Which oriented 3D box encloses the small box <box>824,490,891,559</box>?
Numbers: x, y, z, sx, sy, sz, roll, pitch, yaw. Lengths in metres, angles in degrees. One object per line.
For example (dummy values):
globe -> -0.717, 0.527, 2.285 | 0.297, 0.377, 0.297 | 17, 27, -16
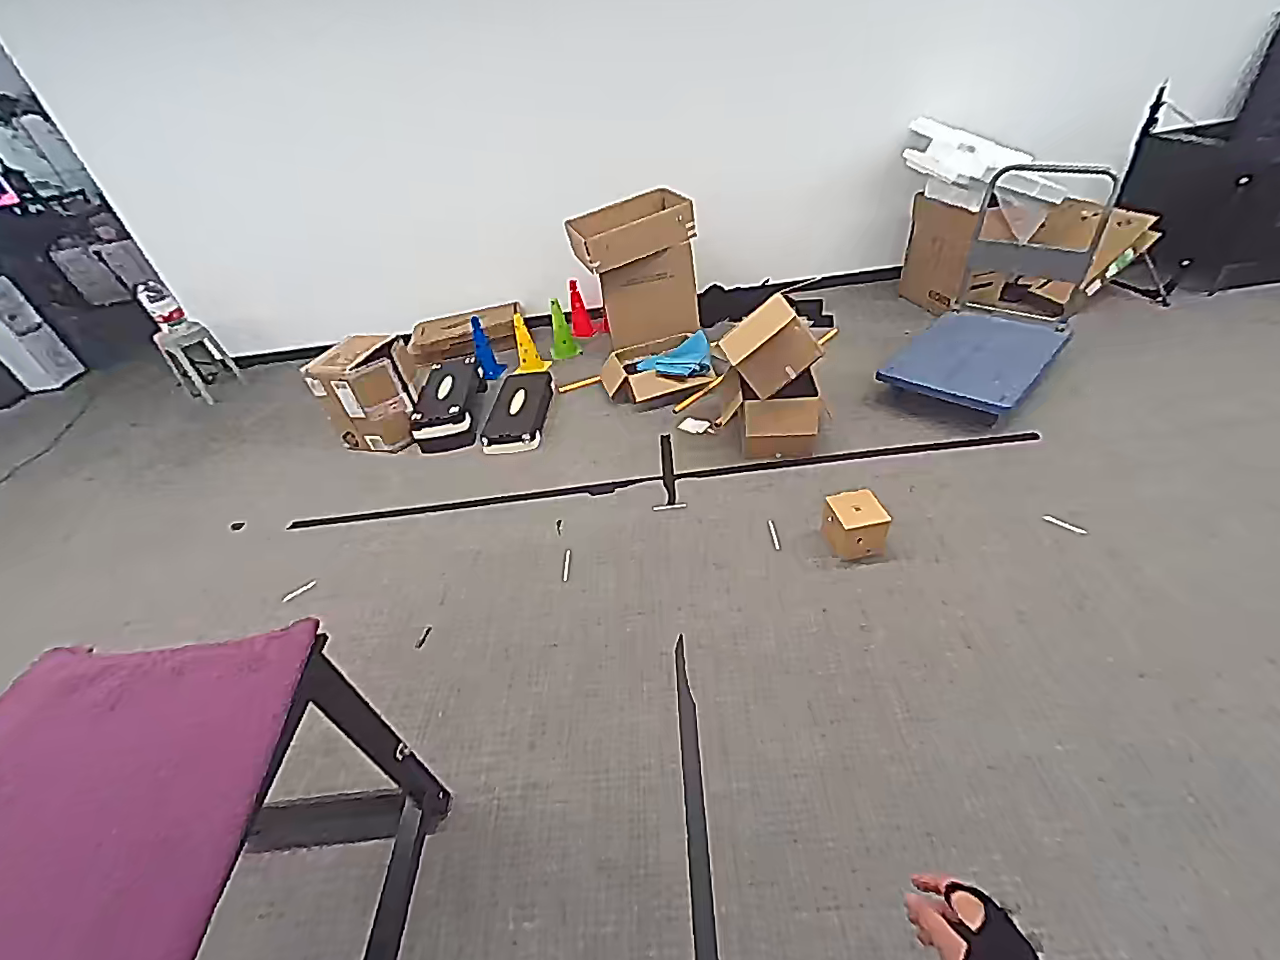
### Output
small box -> 0.775, 0.166, 1.944 | 0.168, 0.176, 0.179 | -11, 38, -2
